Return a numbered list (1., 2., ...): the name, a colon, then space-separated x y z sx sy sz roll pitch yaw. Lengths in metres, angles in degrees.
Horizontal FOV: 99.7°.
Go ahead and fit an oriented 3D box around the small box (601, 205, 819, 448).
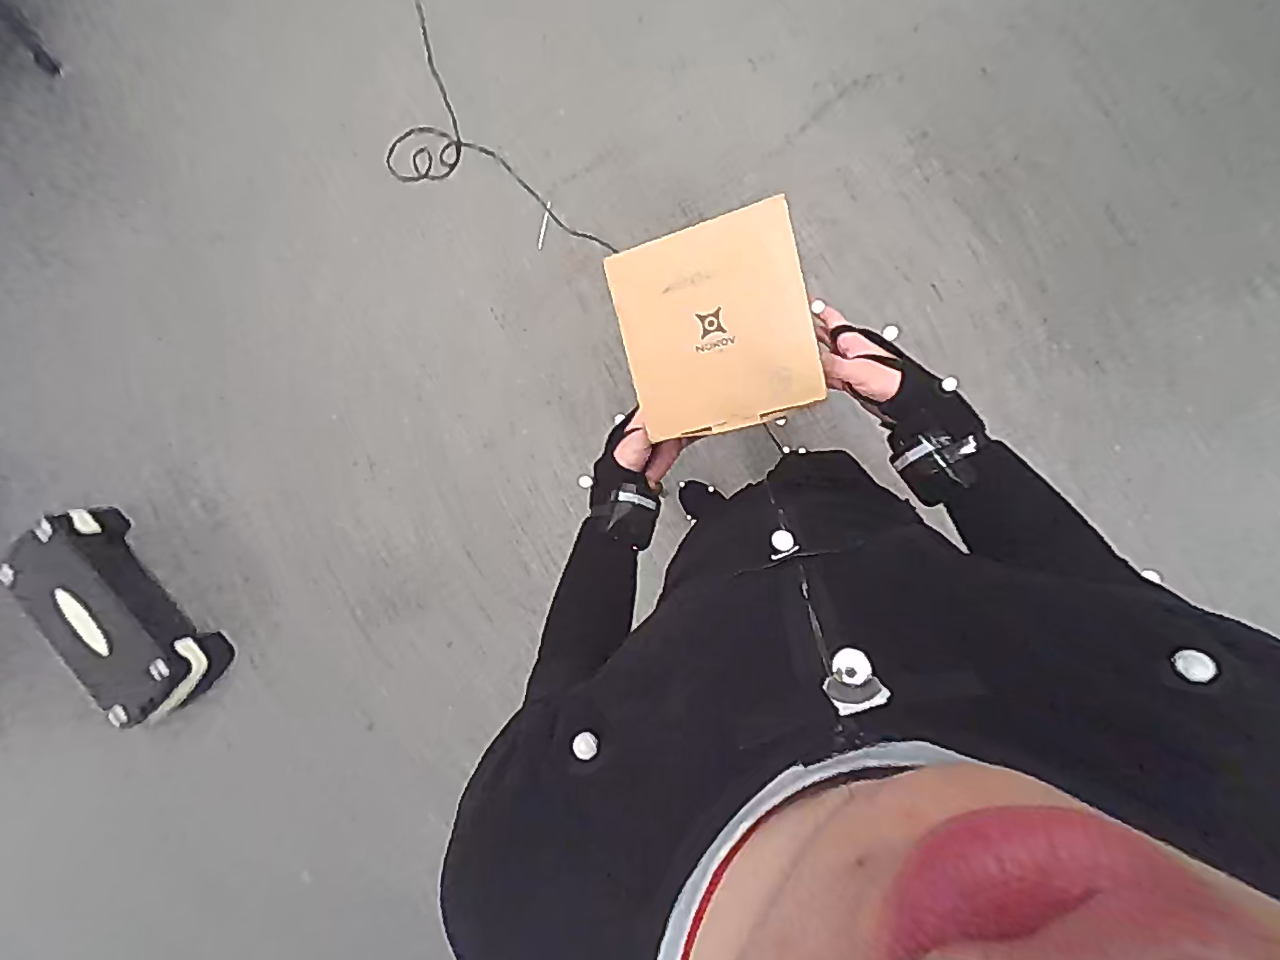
1. small box: 0.083 -0.142 0.550 0.168 0.176 0.179 -12 96 18
